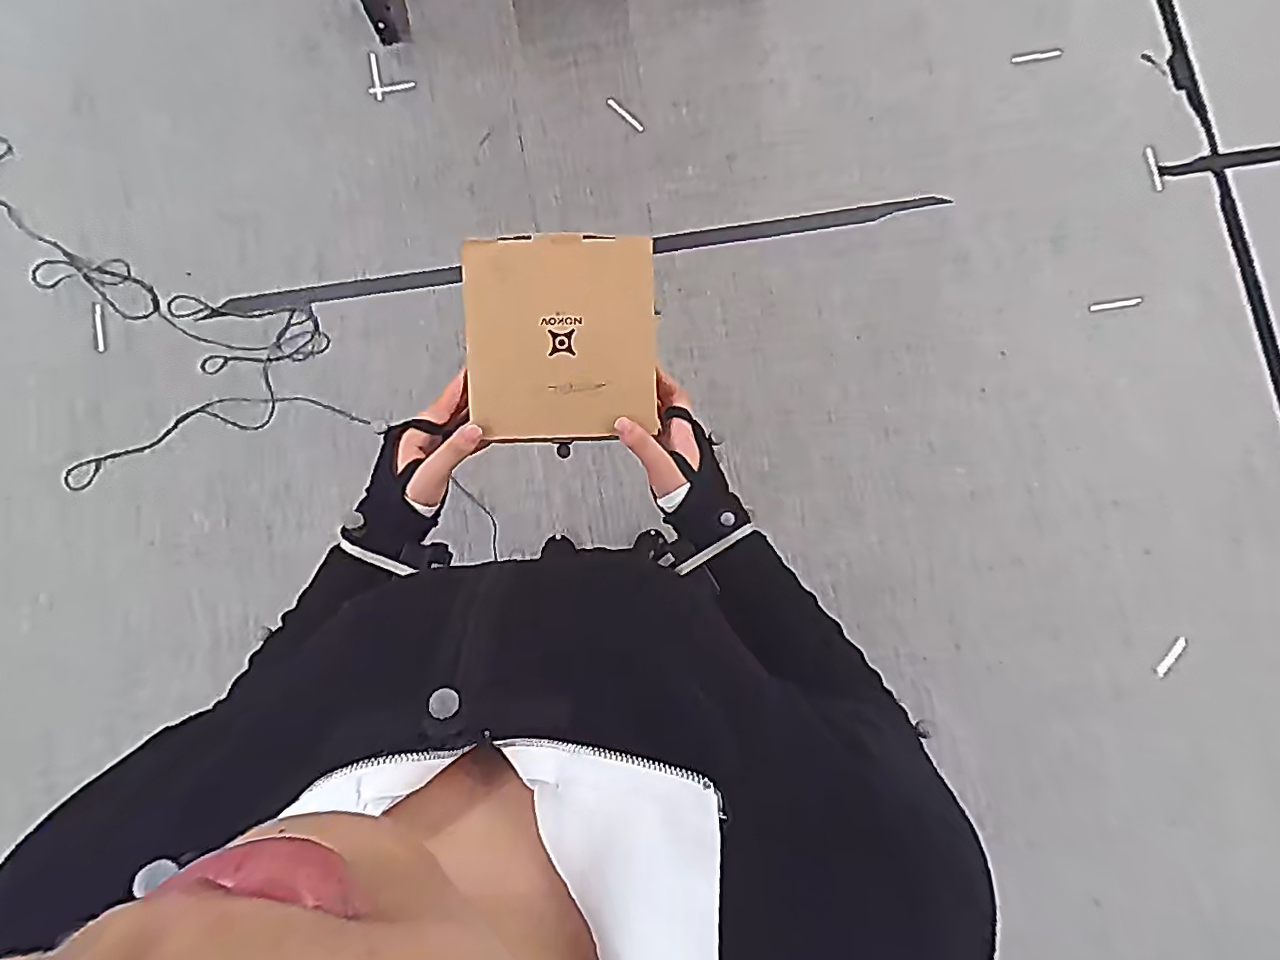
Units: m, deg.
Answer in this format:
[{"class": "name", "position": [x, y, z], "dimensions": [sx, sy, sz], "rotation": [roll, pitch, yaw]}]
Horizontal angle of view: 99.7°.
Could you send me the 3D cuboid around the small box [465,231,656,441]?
[{"class": "small box", "position": [-0.074, -0.132, 0.552], "dimensions": [0.168, 0.176, 0.179], "rotation": [-2, 93, -3]}]
